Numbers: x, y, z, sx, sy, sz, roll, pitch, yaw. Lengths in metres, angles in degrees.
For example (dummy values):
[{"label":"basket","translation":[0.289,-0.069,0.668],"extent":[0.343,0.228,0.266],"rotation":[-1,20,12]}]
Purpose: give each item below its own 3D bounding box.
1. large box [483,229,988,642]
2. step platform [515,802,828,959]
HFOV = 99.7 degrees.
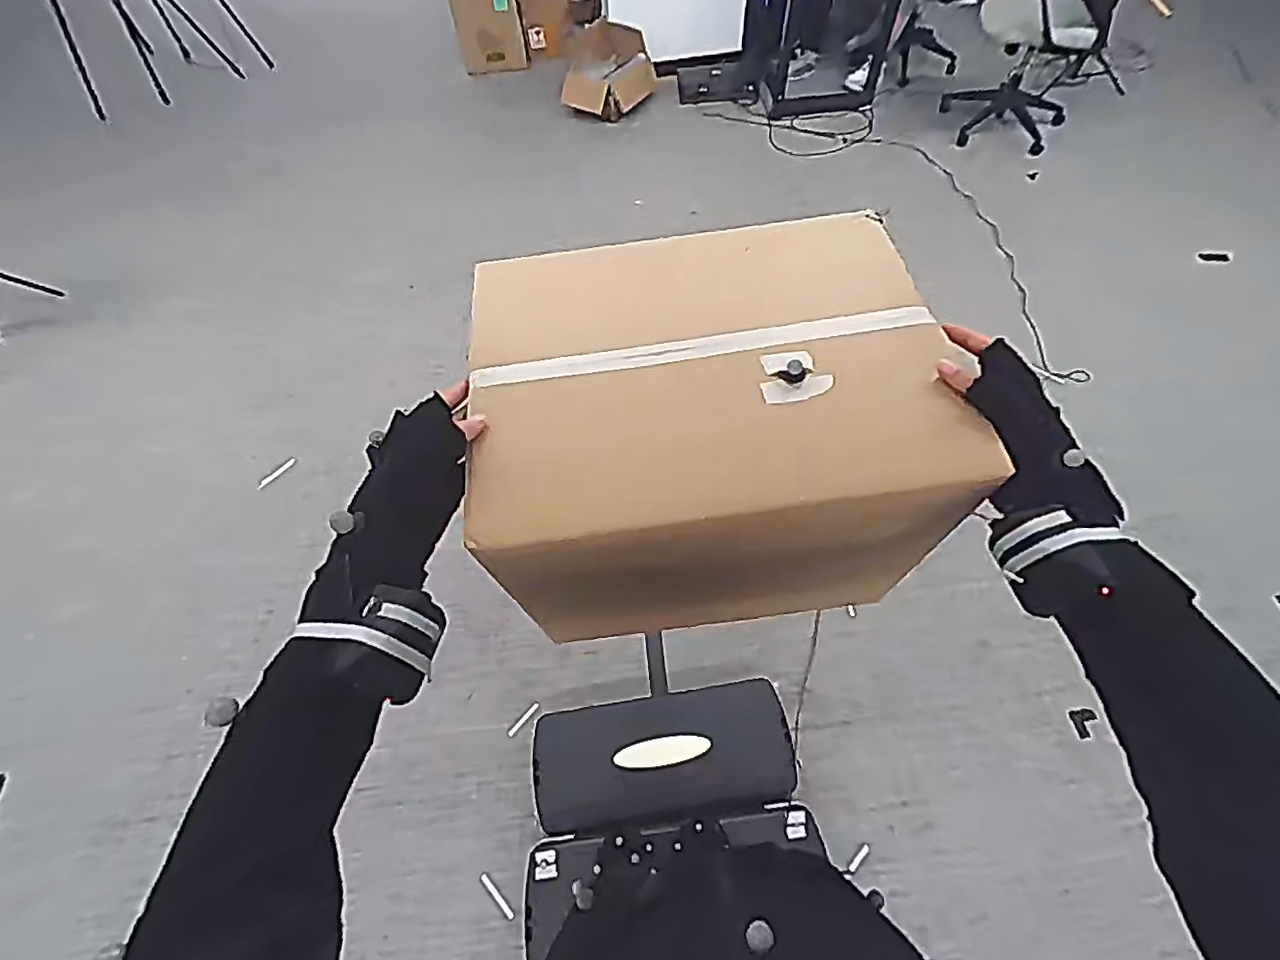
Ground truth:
[{"label":"large box","translation":[0.063,-0.030,0.615],"extent":[0.408,0.320,0.320],"rotation":[-8,61,-1]},{"label":"step platform","translation":[0.064,0.945,1.233],"extent":[0.684,0.204,0.286],"rotation":[-9,59,-1]}]
